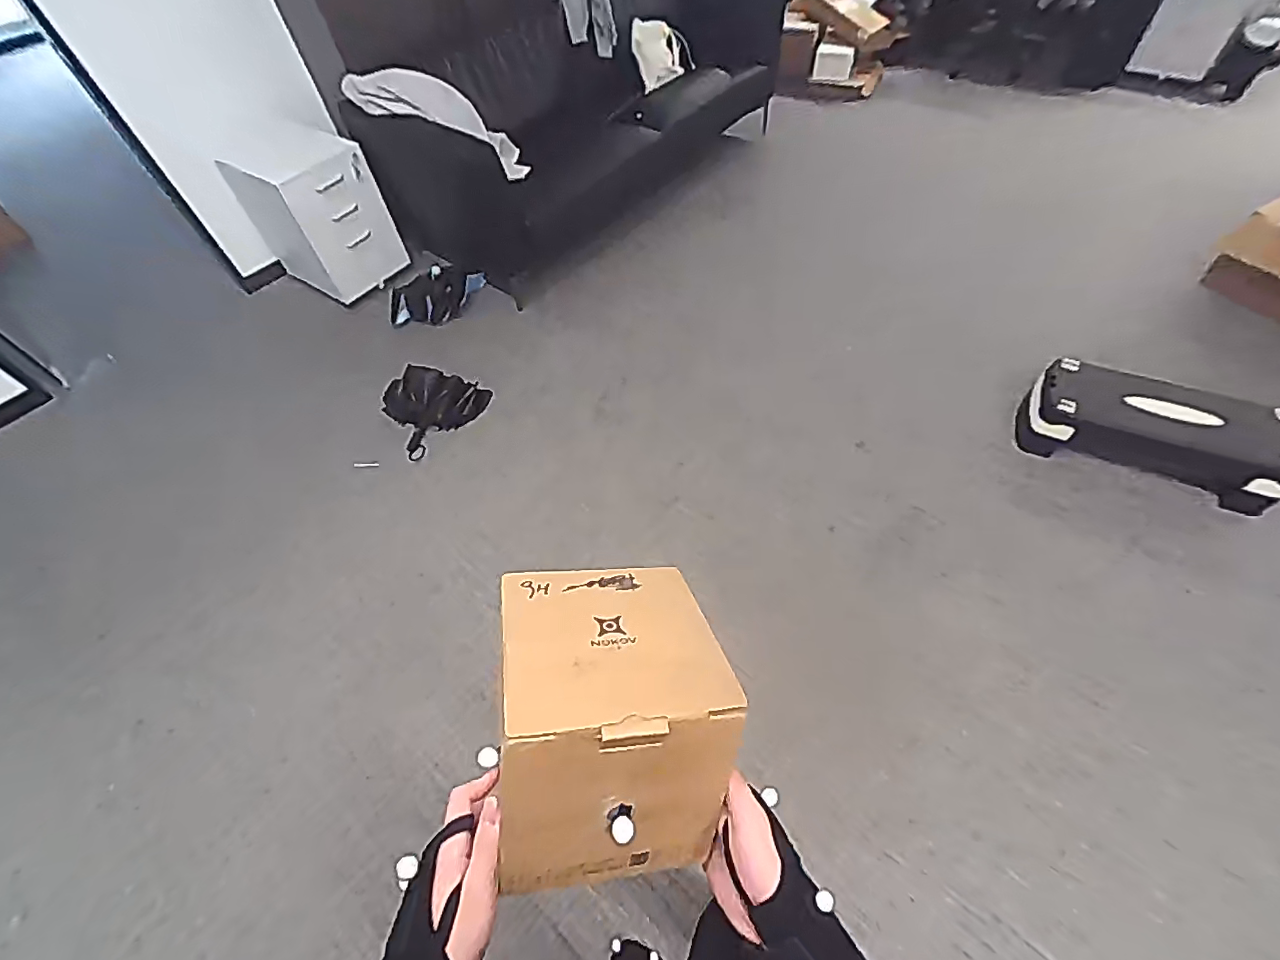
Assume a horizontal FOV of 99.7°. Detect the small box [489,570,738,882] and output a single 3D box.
[{"bbox_3d":[-0.037,0.196,0.450,0.168,0.176,0.179,1,26,-14],"label":"small box"}]
